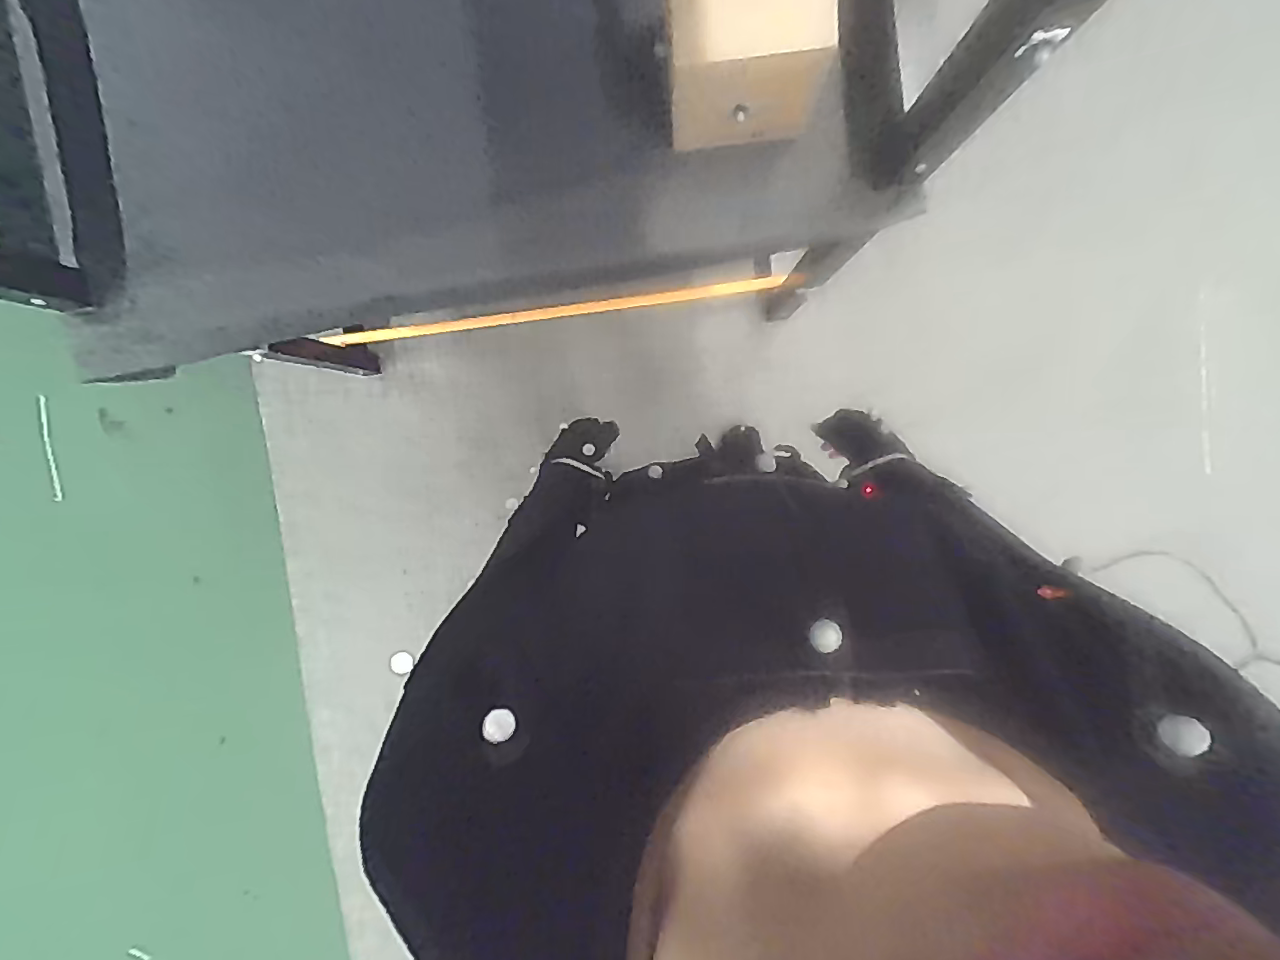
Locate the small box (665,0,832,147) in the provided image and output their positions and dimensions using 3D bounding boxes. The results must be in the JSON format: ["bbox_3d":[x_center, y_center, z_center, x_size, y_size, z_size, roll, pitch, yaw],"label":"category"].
[{"bbox_3d":[0.114,-0.511,0.622,0.168,0.176,0.179,-3,93,4],"label":"small box"}]
